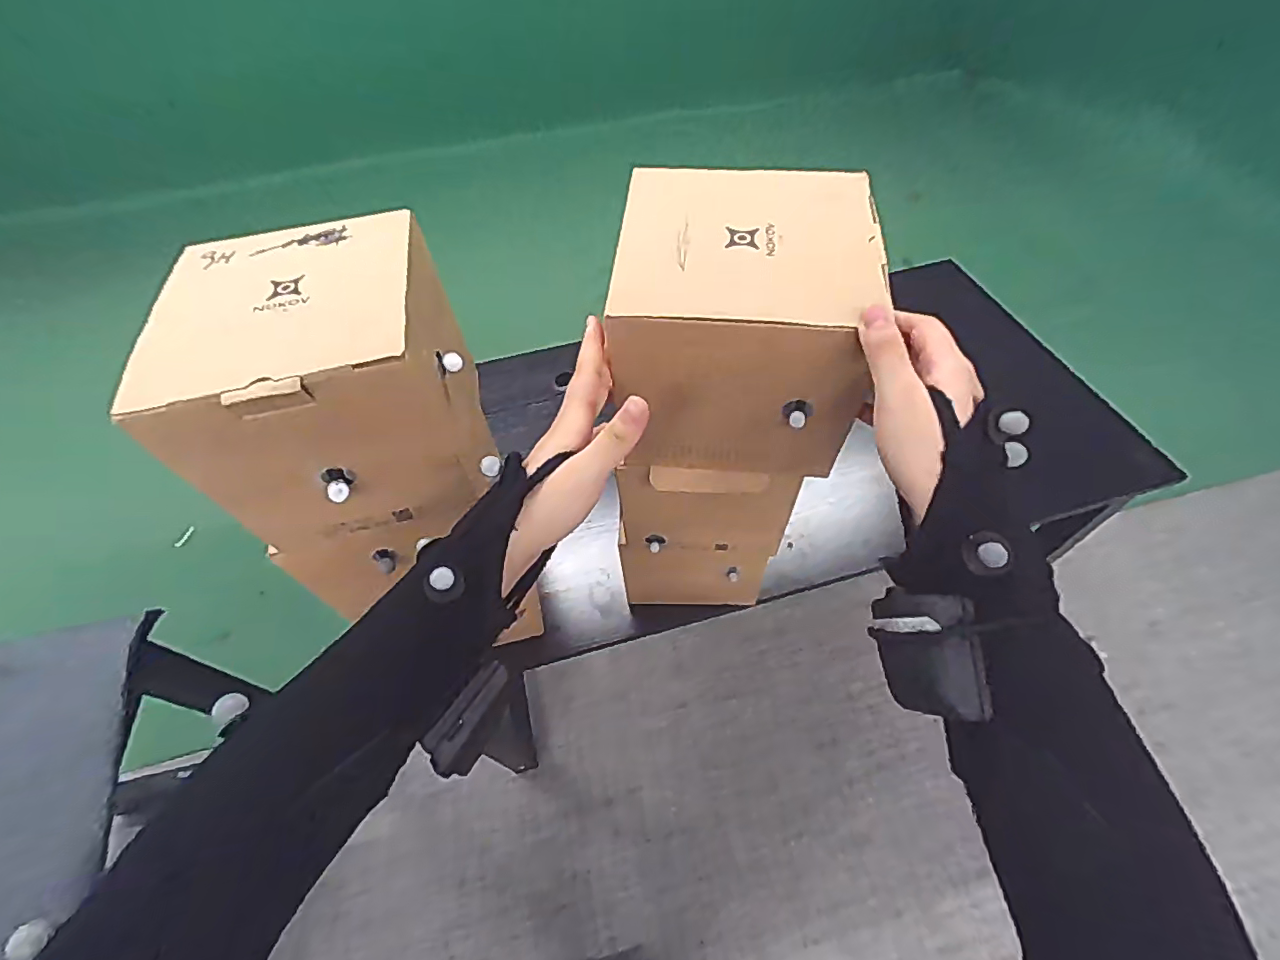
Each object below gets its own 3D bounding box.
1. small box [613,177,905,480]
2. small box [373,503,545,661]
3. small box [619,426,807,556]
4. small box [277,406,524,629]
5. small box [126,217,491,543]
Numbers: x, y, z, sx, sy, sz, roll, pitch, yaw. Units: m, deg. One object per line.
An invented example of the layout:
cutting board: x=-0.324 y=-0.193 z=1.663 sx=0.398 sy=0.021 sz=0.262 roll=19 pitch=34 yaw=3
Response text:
small box: x=0.081 y=-0.112 z=0.431 sx=0.179 sy=0.176 sz=0.168 roll=3 pitch=57 yaw=6
small box: x=-0.225 y=0.115 z=0.692 sx=0.168 sy=0.176 sz=0.179 roll=-13 pitch=54 yaw=-7
small box: x=0.074 y=-0.031 z=0.574 sx=0.168 sy=0.176 sz=0.179 roll=2 pitch=56 yaw=4
small box: x=-0.223 y=0.031 z=0.552 sx=0.179 sy=0.176 sz=0.168 roll=-14 pitch=55 yaw=-6
small box: x=-0.222 y=-0.067 z=0.420 sx=0.168 sy=0.176 sz=0.179 roll=-13 pitch=55 yaw=-5
